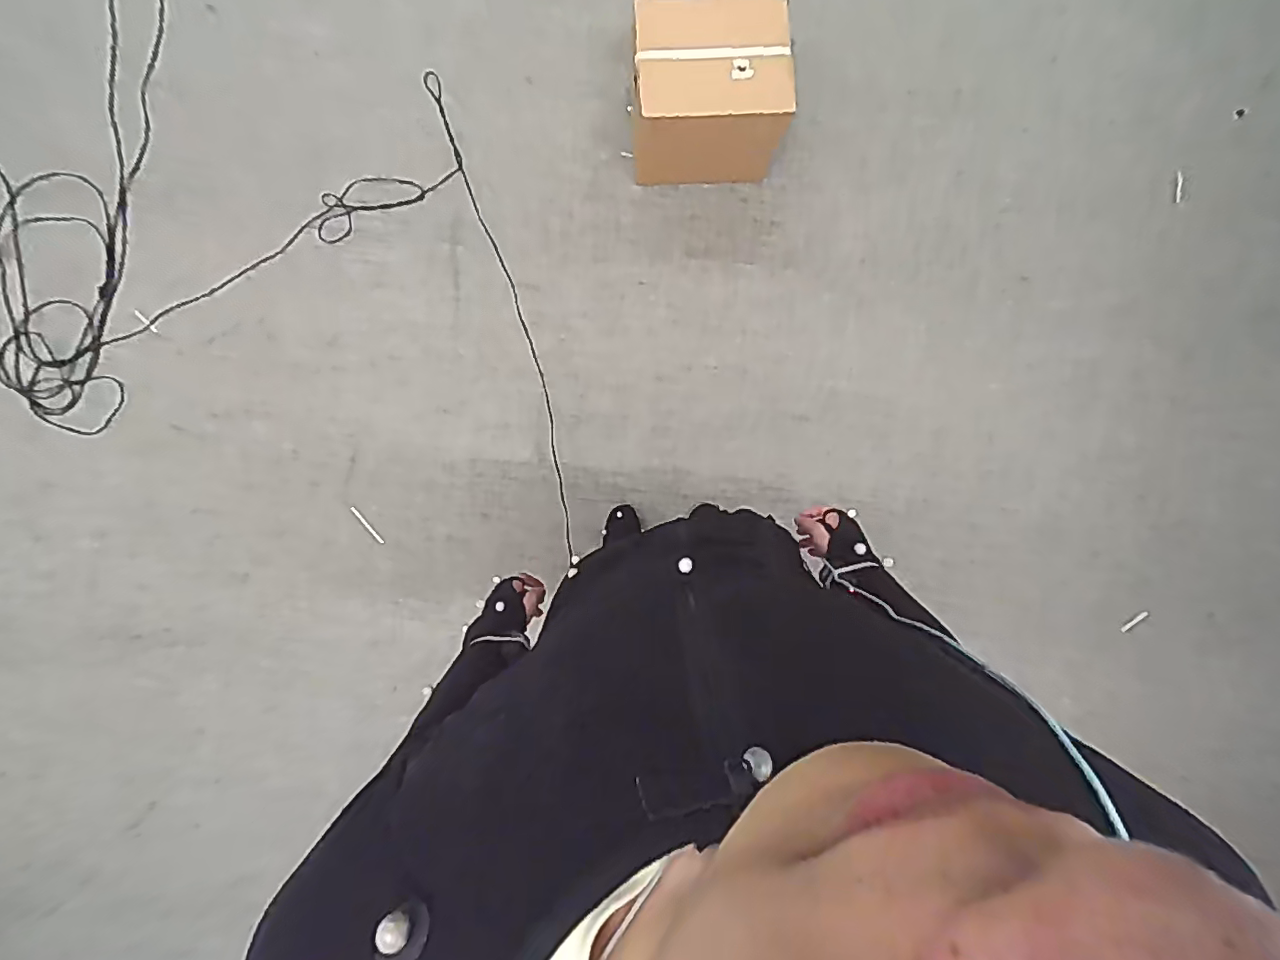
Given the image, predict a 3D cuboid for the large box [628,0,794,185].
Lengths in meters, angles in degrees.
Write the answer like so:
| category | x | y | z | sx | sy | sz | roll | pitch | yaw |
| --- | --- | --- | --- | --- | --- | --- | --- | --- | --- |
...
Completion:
| category | x | y | z | sx | sy | sz | roll | pitch | yaw |
| --- | --- | --- | --- | --- | --- | --- | --- | --- | --- |
| large box | 0.182 | -1.084 | 1.543 | 0.408 | 0.320 | 0.320 | -4 | 89 | -3 |
